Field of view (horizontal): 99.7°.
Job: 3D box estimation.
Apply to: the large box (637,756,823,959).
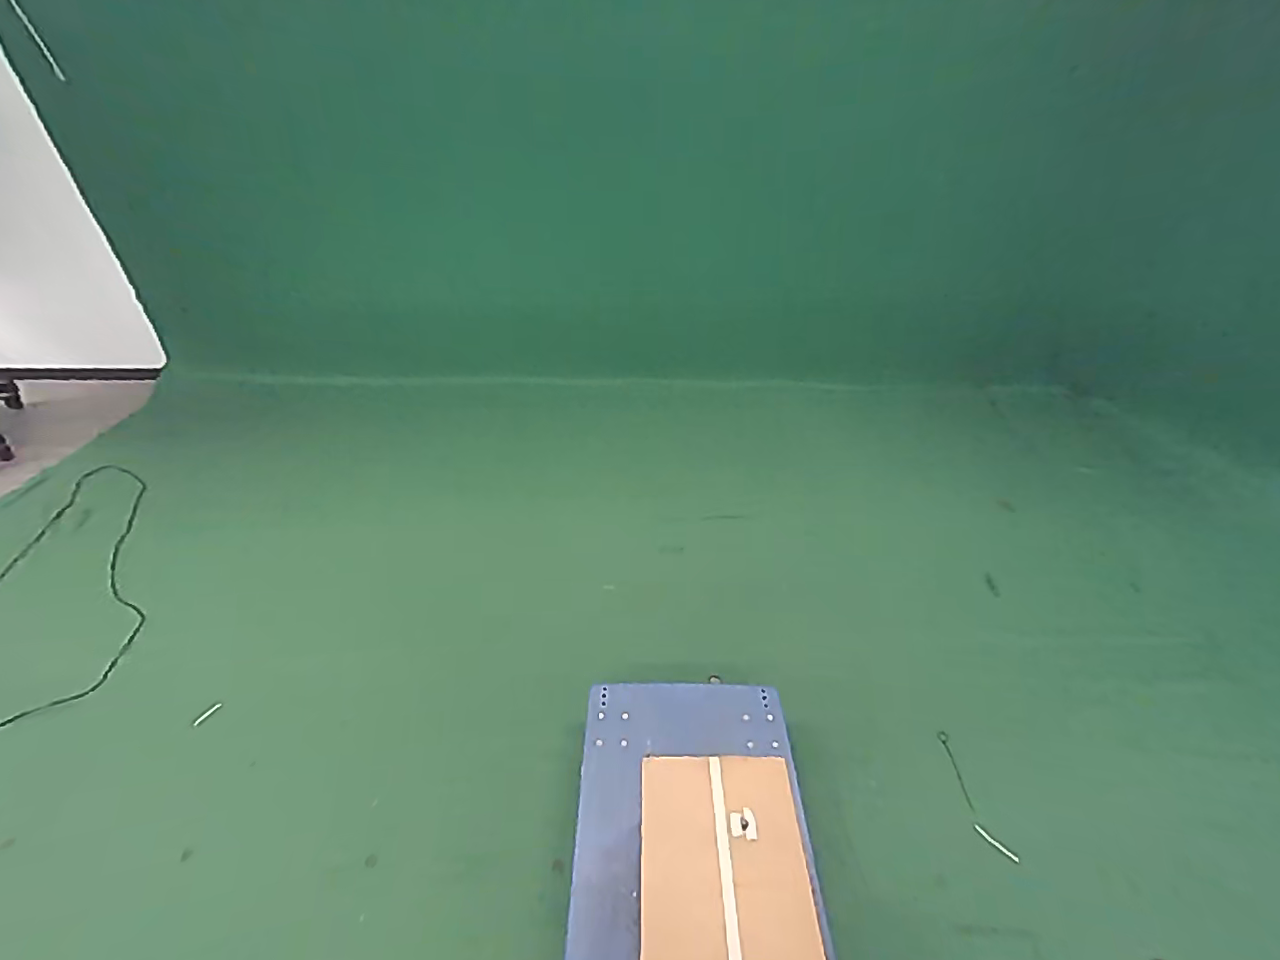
[{"bbox_3d":[0.152,0.844,1.109,0.320,0.320,0.408,1,35,-1],"label":"large box"}]
